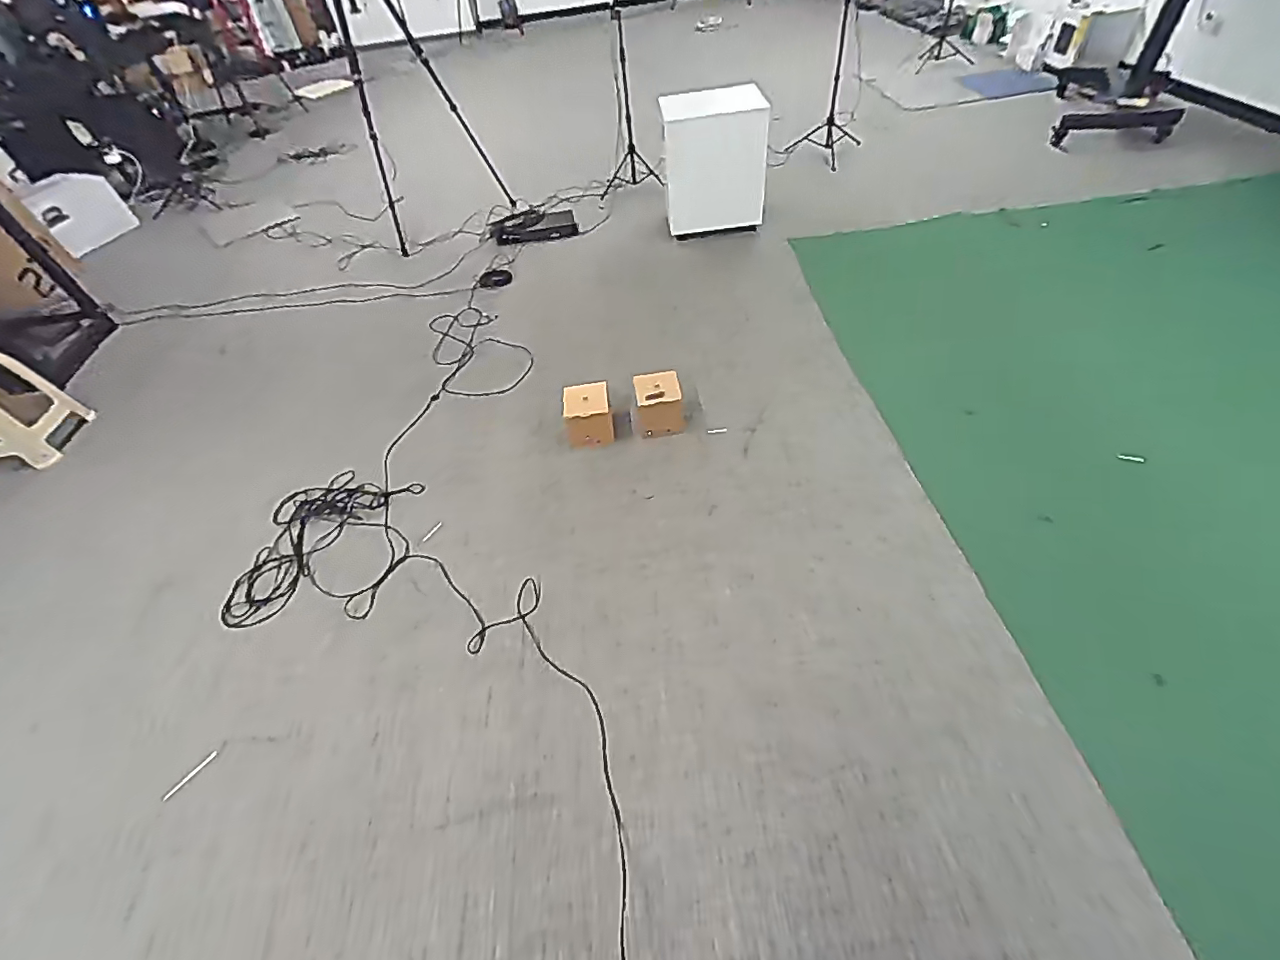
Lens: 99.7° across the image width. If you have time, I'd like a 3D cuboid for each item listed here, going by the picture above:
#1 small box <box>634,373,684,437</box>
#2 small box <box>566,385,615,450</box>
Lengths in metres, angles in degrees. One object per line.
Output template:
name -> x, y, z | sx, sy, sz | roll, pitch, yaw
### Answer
small box -> 0.073, -0.281, 2.078 | 0.168, 0.176, 0.179 | -8, 48, 0
small box -> -0.190, -0.238, 2.080 | 0.168, 0.176, 0.179 | -8, 49, 1
